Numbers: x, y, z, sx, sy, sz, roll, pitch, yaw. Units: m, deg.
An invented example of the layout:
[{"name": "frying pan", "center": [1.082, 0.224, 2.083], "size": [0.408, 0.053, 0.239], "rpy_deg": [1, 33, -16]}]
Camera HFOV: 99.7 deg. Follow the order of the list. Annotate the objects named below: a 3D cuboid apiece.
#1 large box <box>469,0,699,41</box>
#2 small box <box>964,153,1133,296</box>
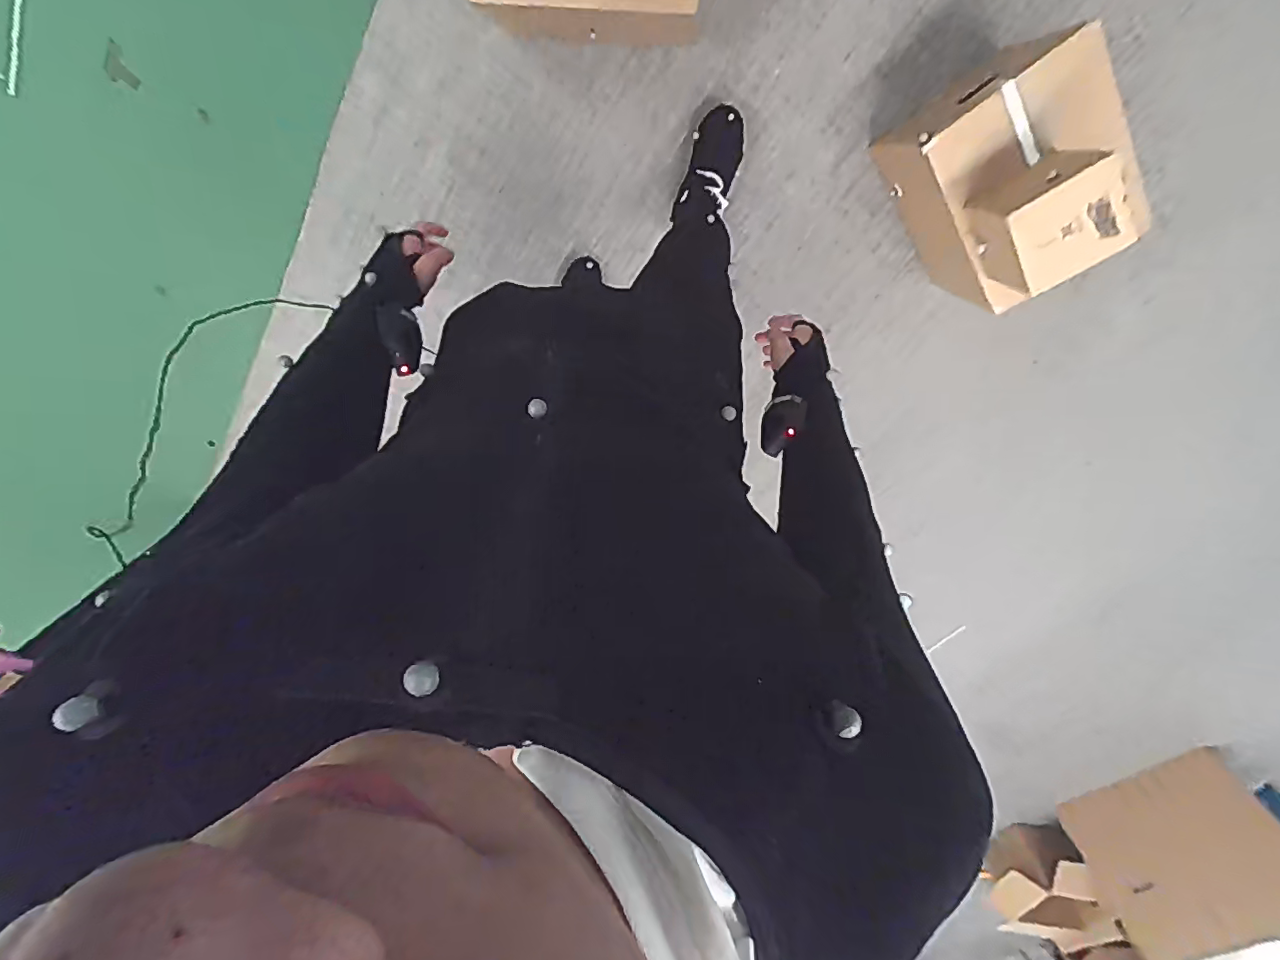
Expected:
[{"name": "large box", "center": [-0.087, -1.023, 0.985], "size": [0.408, 0.320, 0.320], "rpy_deg": [3, 120, 1]}, {"name": "small box", "center": [0.742, -0.475, 0.996], "size": [0.179, 0.176, 0.168], "rpy_deg": [-29, 116, 20]}]
